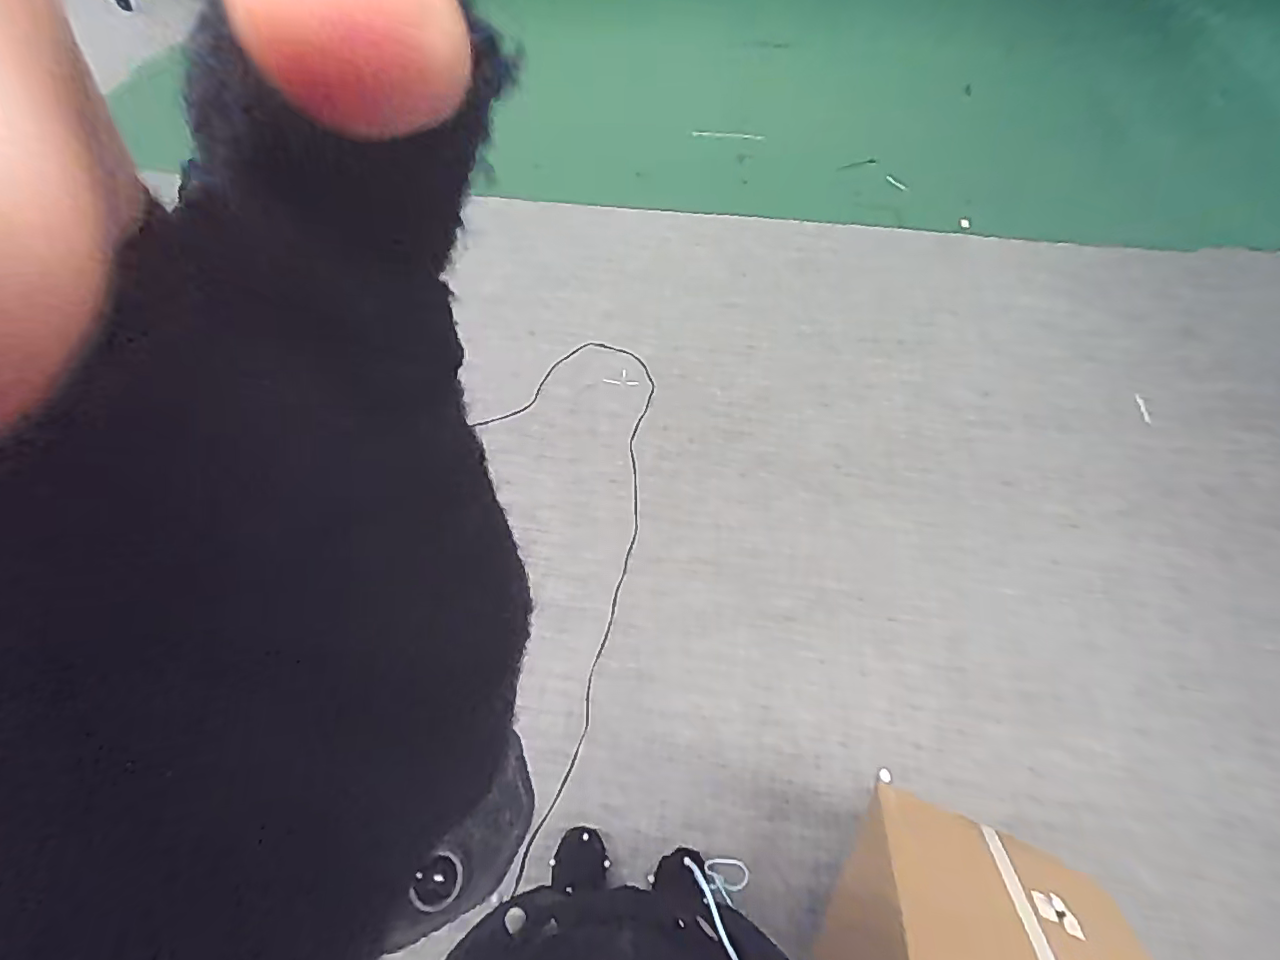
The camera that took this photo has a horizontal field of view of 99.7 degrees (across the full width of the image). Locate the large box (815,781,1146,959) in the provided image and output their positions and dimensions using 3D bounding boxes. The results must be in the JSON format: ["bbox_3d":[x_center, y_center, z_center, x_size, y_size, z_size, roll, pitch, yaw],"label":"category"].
[{"bbox_3d":[0.410,0.676,0.649,0.320,0.408,0.320,20,99,16],"label":"large box"}]
